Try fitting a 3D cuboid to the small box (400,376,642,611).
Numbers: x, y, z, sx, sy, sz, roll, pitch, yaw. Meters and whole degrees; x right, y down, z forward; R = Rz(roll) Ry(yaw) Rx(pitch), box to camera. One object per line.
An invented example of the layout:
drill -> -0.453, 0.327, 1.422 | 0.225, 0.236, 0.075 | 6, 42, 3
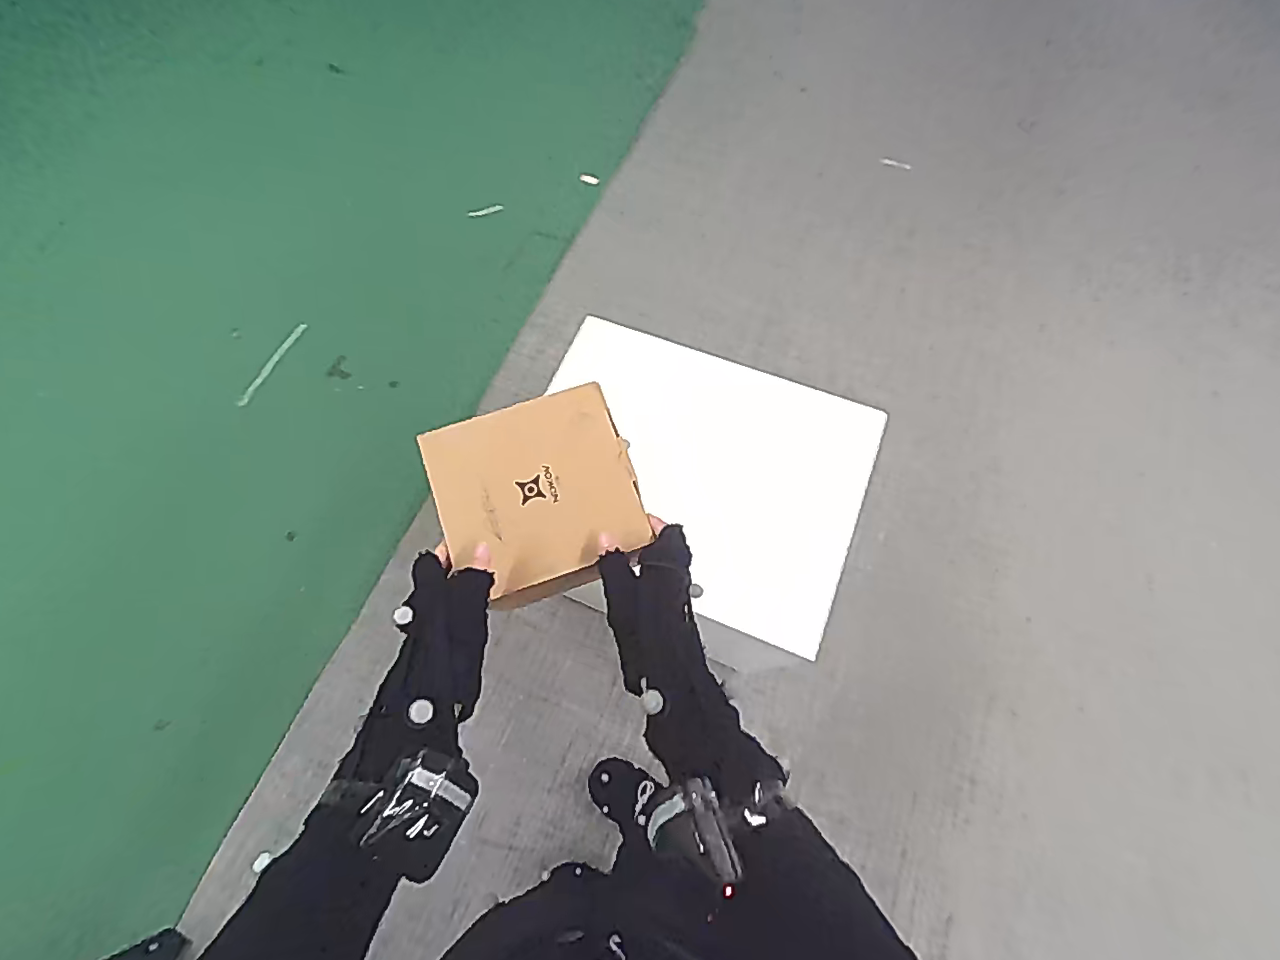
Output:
small box -> -0.106, 0.023, 0.547 | 0.179, 0.176, 0.168 | -20, 78, -4
